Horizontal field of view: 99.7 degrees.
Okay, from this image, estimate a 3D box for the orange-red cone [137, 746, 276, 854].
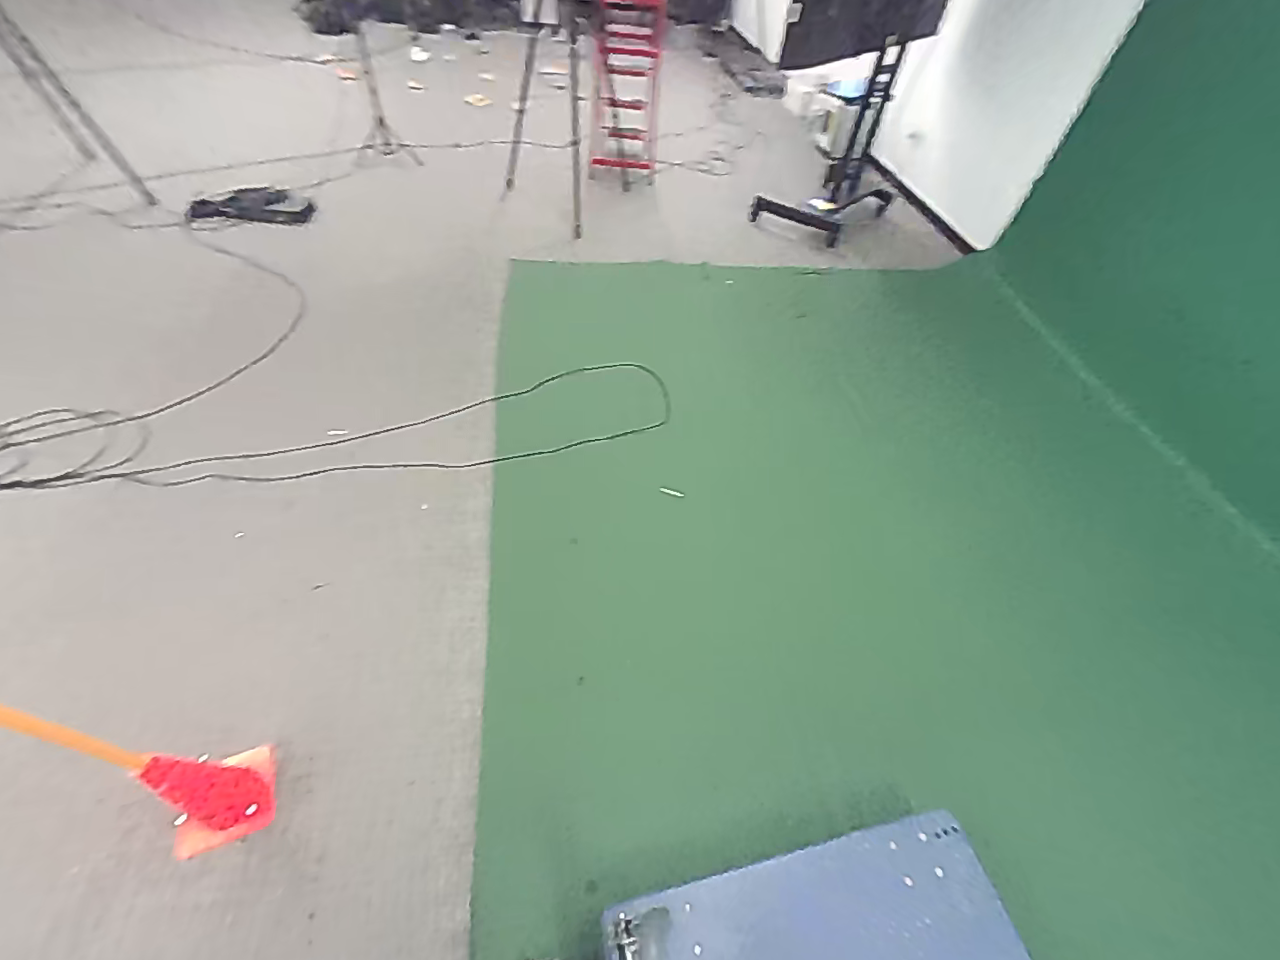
[{"bbox_3d":[-1.001,0.674,1.212,0.198,0.360,0.199,-14,51,-18],"label":"orange-red cone"}]
